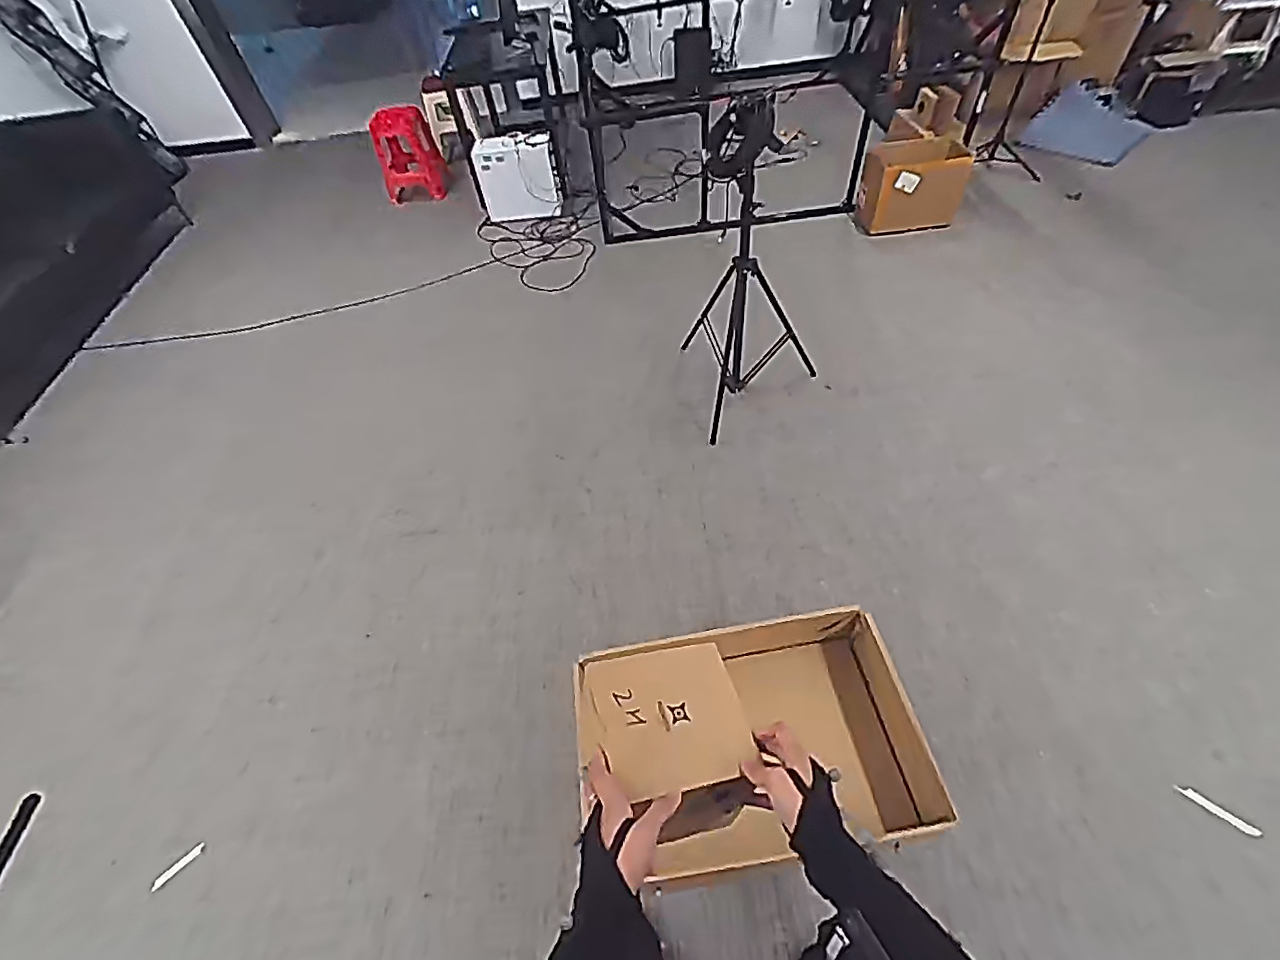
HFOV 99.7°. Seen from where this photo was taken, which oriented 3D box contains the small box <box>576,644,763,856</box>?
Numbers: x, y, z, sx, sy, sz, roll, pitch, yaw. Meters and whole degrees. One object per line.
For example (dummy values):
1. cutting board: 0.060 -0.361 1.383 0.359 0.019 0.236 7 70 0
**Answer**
1. small box: 0.022 0.332 0.673 0.179 0.176 0.168 -5 41 -16
